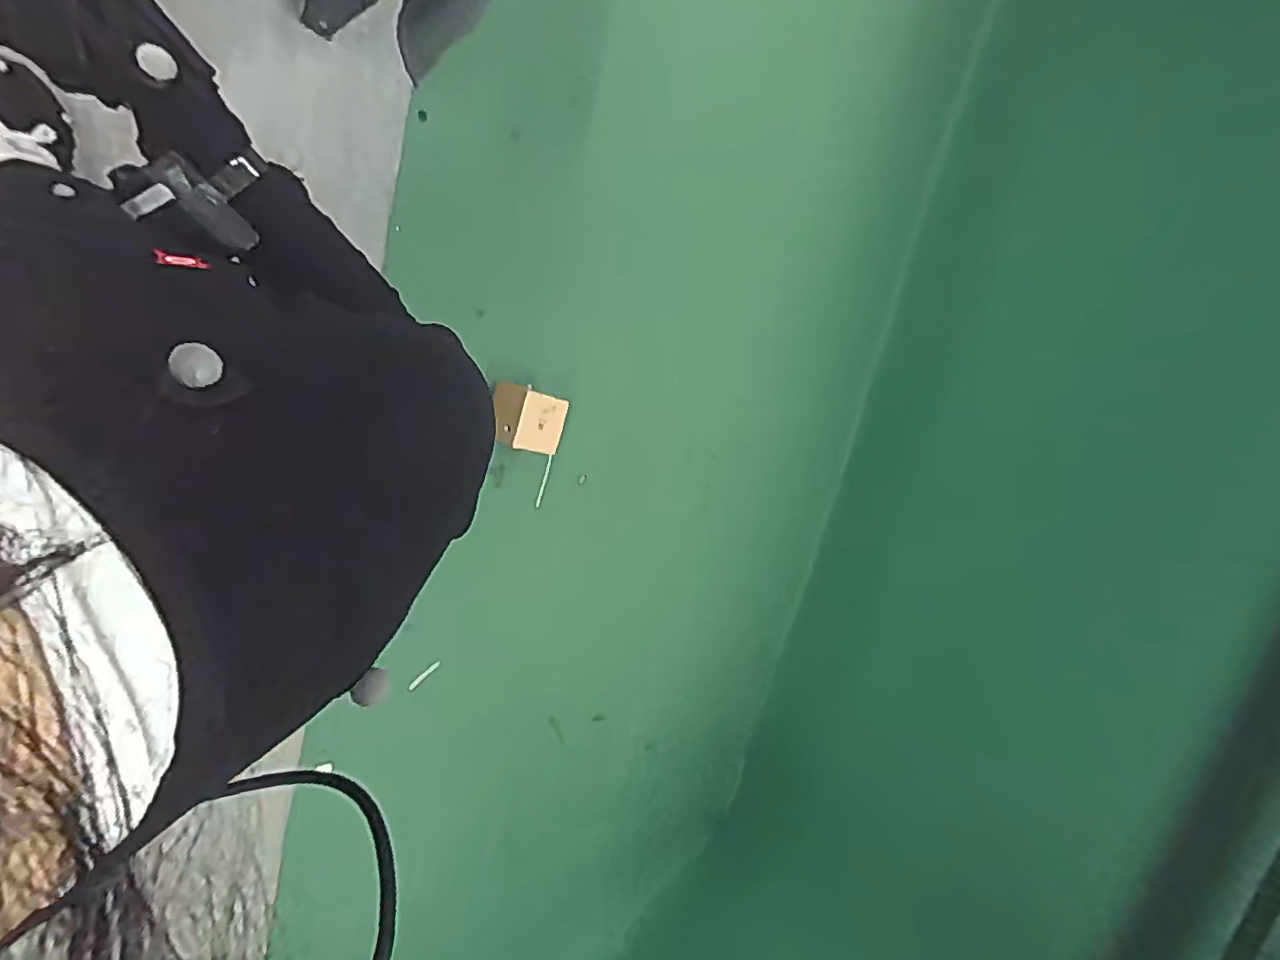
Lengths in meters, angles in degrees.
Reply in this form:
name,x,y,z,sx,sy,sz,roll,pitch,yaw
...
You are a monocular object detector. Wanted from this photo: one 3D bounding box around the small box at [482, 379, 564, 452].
name,x,y,z,sx,sy,sz,roll,pitch,yaw
small box,-0.373,-0.203,1.697,0.168,0.176,0.179,9,100,-49
